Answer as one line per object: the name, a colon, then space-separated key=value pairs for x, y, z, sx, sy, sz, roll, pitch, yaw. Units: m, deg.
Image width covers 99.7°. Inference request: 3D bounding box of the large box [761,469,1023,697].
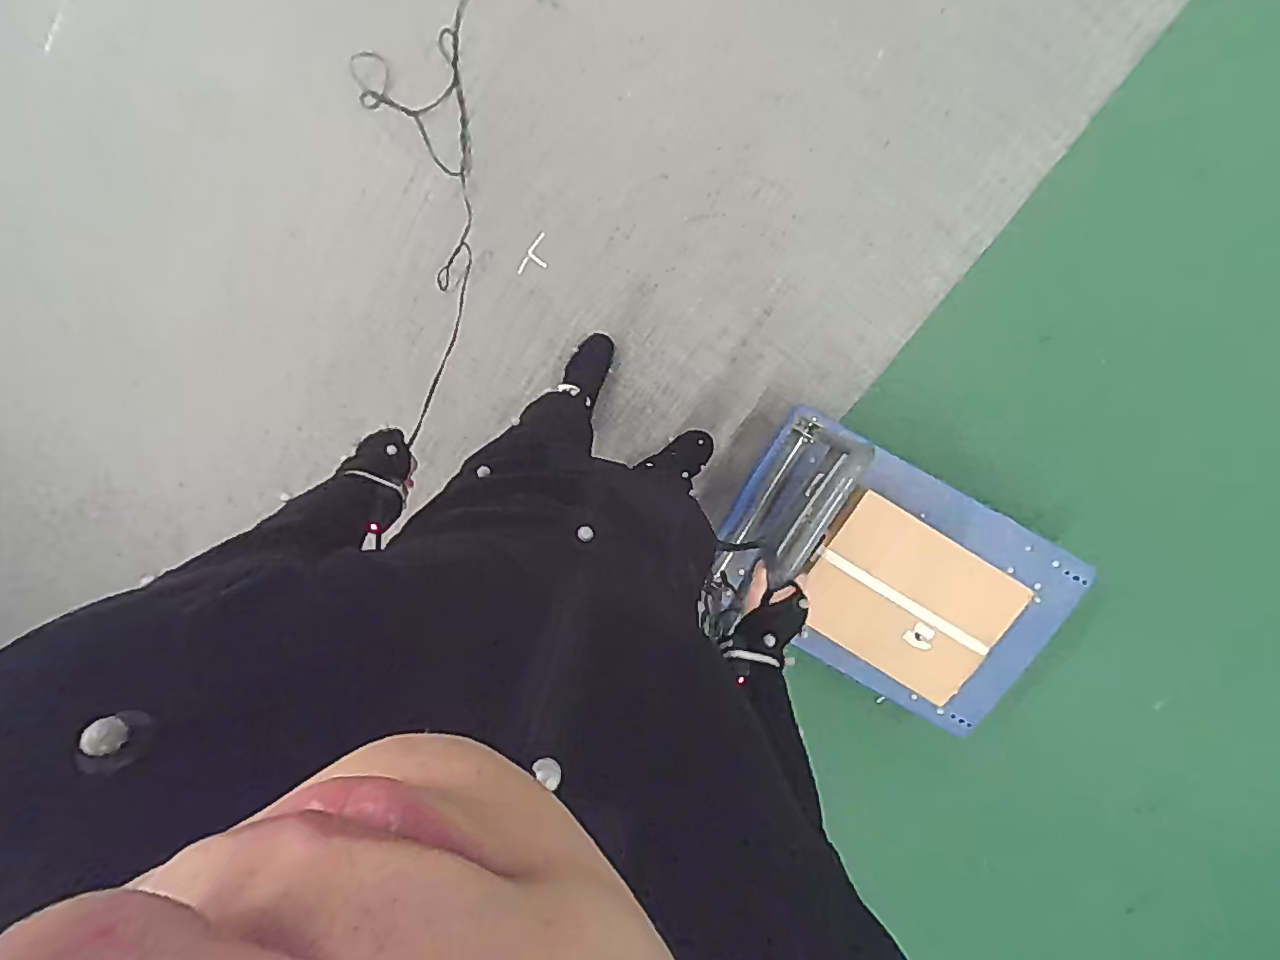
large box: x=0.553 y=0.217 z=1.278 sx=0.408 sy=0.320 sz=0.320 roll=32 pitch=102 yaw=-1
